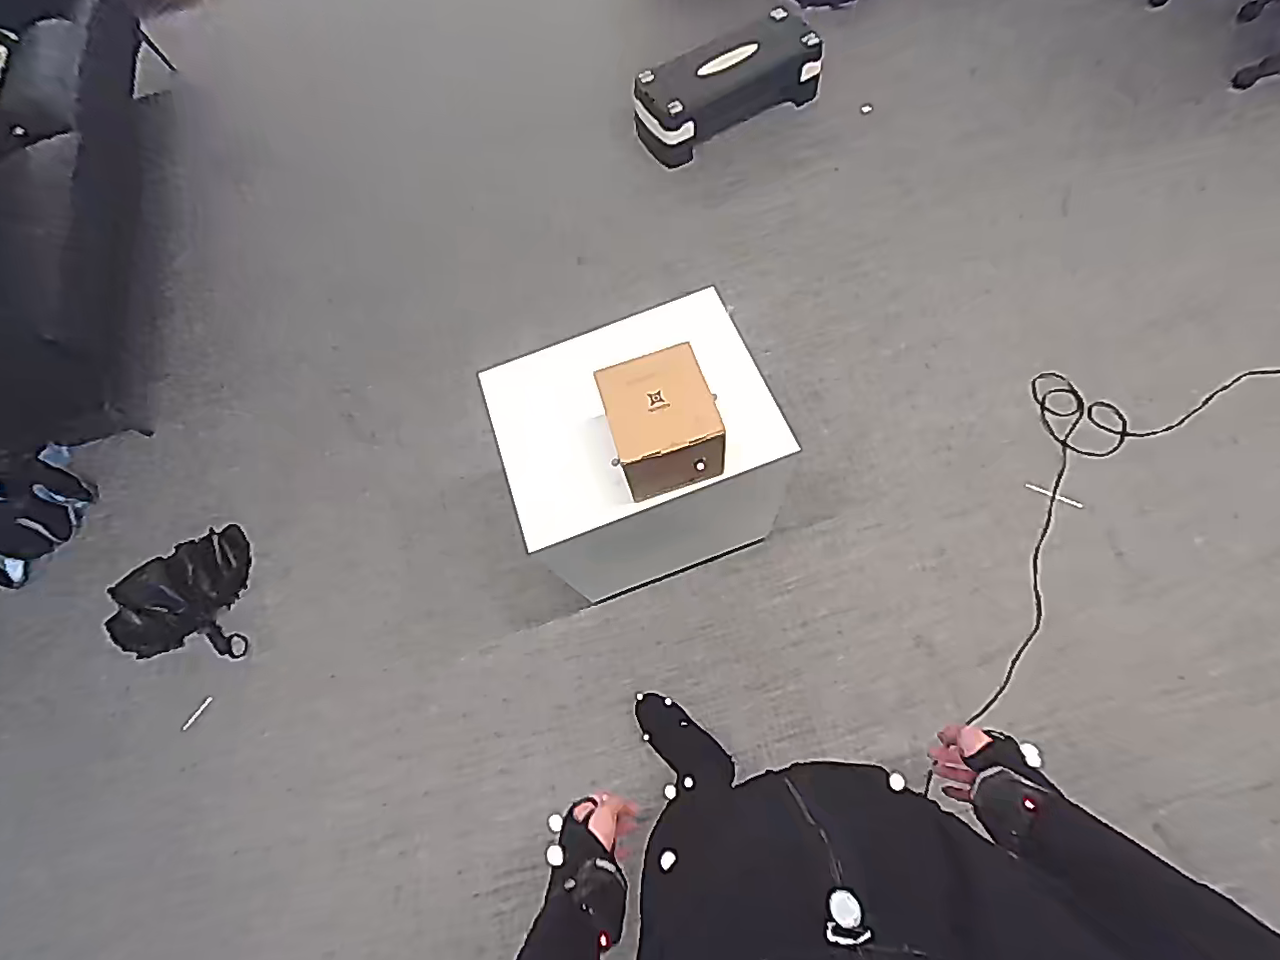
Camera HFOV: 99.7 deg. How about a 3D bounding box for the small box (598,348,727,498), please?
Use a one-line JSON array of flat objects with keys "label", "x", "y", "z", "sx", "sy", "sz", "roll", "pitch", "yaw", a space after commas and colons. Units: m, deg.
[{"label": "small box", "x": 0.041, "y": -0.084, "z": 0.908, "sx": 0.168, "sy": 0.176, "sz": 0.179, "roll": -18, "pitch": 65, "yaw": -1}]
